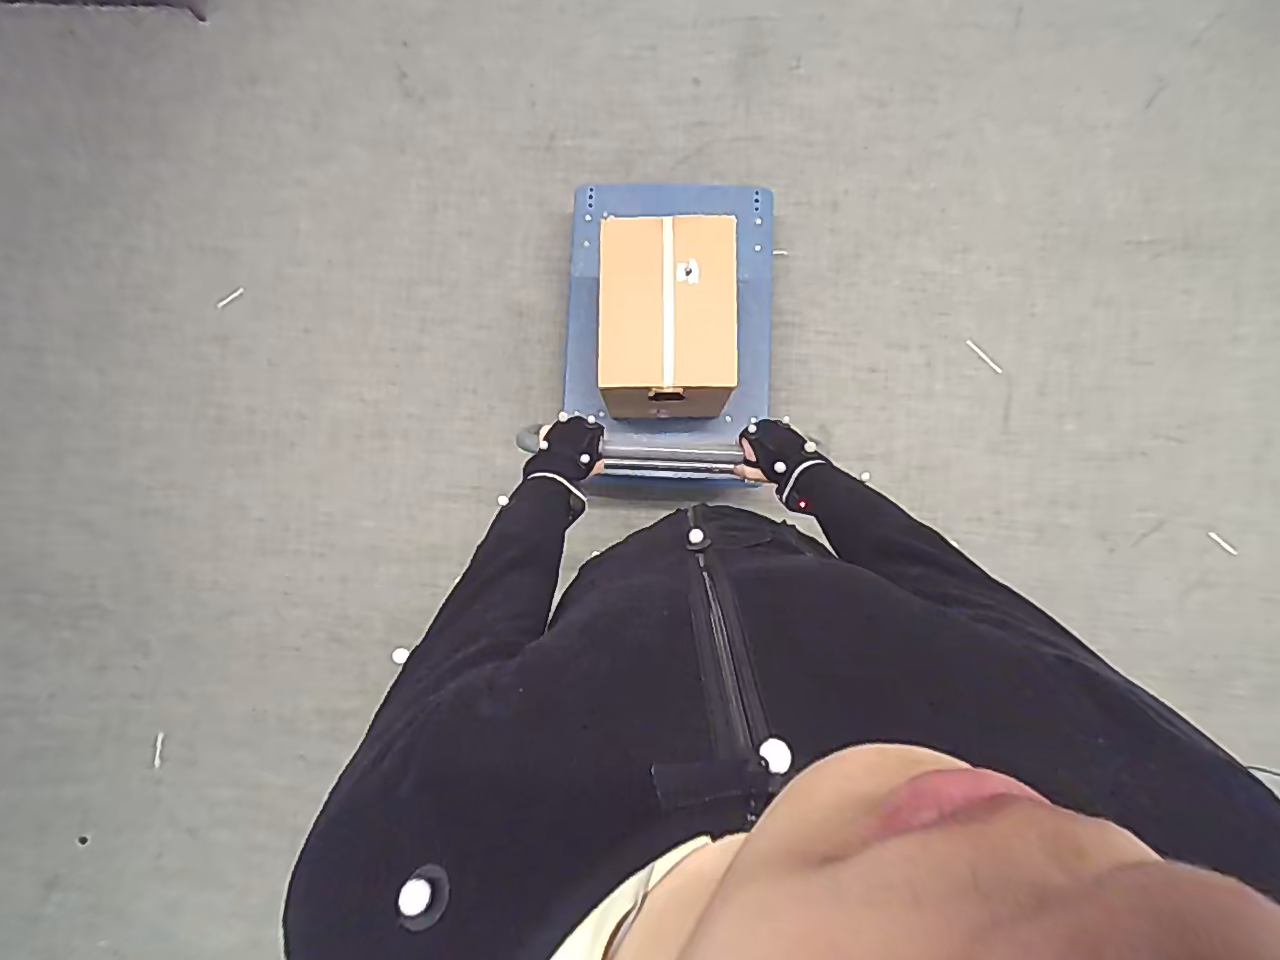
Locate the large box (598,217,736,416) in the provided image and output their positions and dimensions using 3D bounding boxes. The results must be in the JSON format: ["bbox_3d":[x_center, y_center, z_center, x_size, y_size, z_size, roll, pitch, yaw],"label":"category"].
[{"bbox_3d":[0.066,-0.392,1.381,0.320,0.320,0.408,0,84,2],"label":"large box"}]
